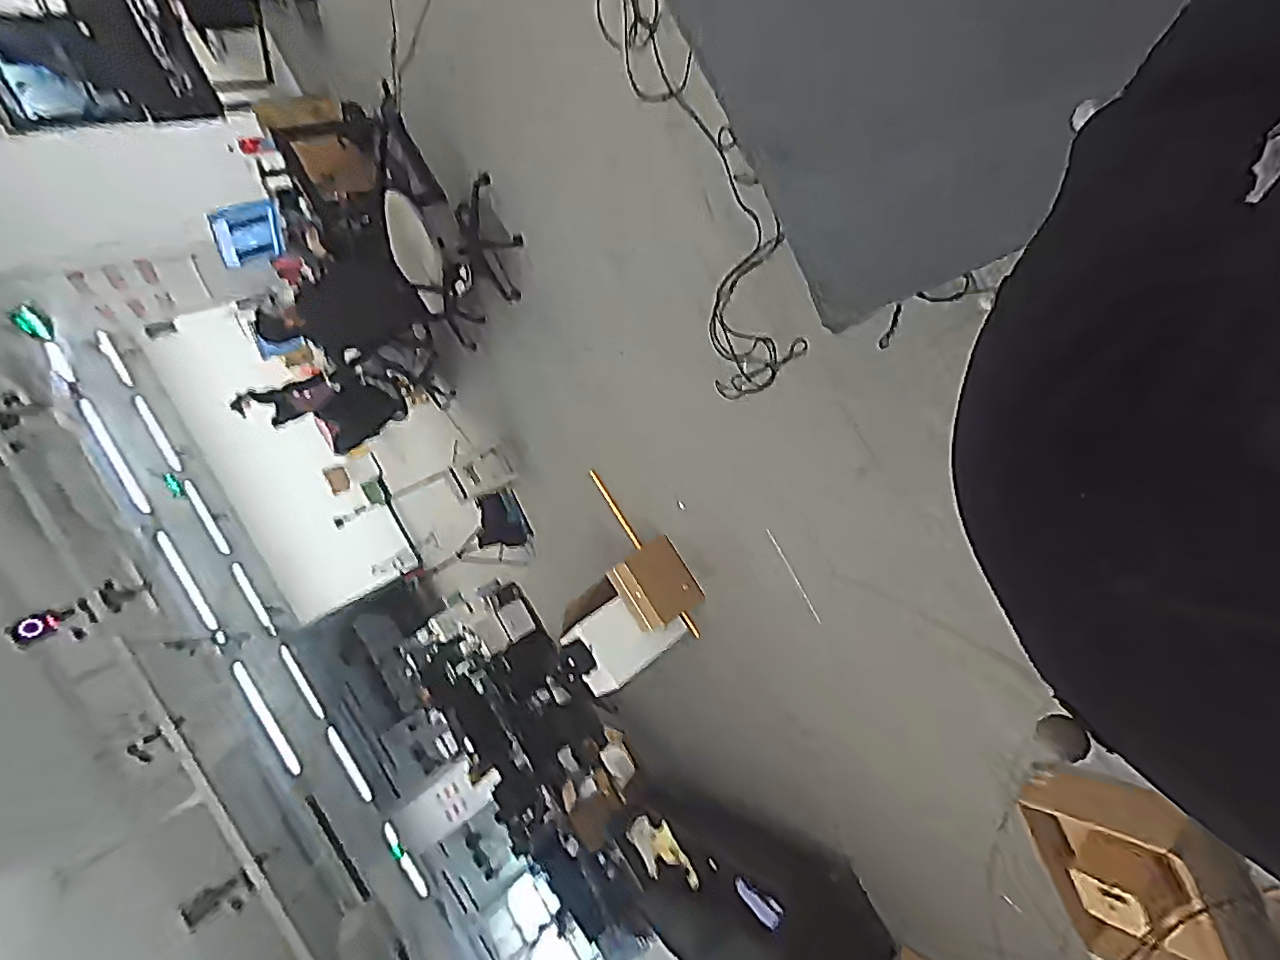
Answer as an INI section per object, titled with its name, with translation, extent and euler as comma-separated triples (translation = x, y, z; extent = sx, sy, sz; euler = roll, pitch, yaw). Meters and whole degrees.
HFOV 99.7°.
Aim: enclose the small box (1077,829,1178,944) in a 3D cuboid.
[small box]
translation = 1.439, 1.184, 1.595
extent = 0.168, 0.176, 0.179
euler = -12, 107, 60
